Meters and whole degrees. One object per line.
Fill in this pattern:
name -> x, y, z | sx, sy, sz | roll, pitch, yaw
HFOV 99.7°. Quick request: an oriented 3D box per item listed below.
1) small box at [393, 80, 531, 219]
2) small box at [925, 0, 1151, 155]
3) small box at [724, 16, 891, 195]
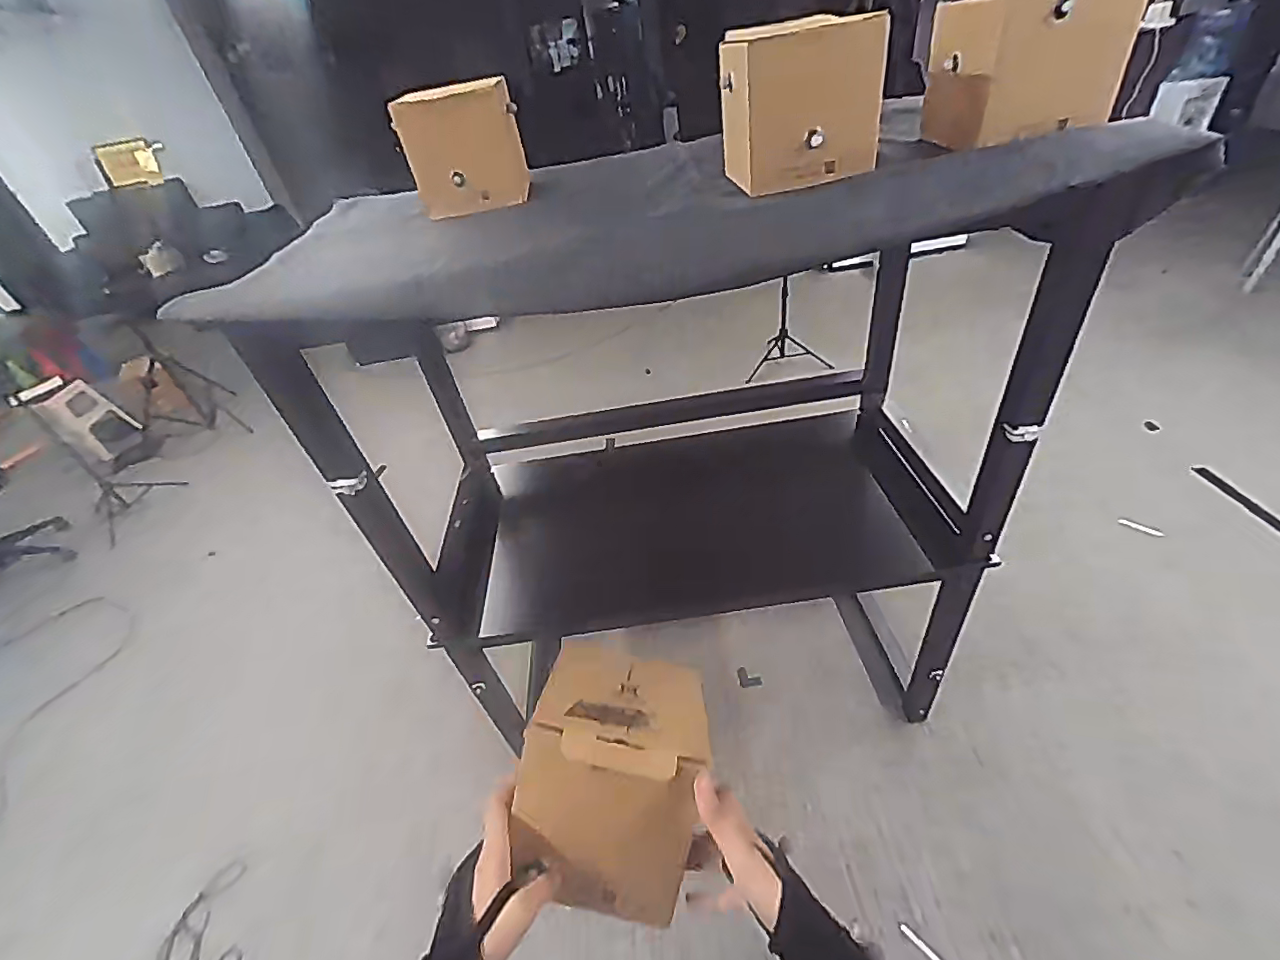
small box -> -0.289, -0.563, 0.924 | 0.168, 0.176, 0.179 | -10, 41, 1
small box -> 0.507, -0.547, 0.720 | 0.168, 0.176, 0.179 | -9, 38, 4
small box -> 0.212, -0.500, 0.732 | 0.168, 0.176, 0.179 | -10, 38, 2
